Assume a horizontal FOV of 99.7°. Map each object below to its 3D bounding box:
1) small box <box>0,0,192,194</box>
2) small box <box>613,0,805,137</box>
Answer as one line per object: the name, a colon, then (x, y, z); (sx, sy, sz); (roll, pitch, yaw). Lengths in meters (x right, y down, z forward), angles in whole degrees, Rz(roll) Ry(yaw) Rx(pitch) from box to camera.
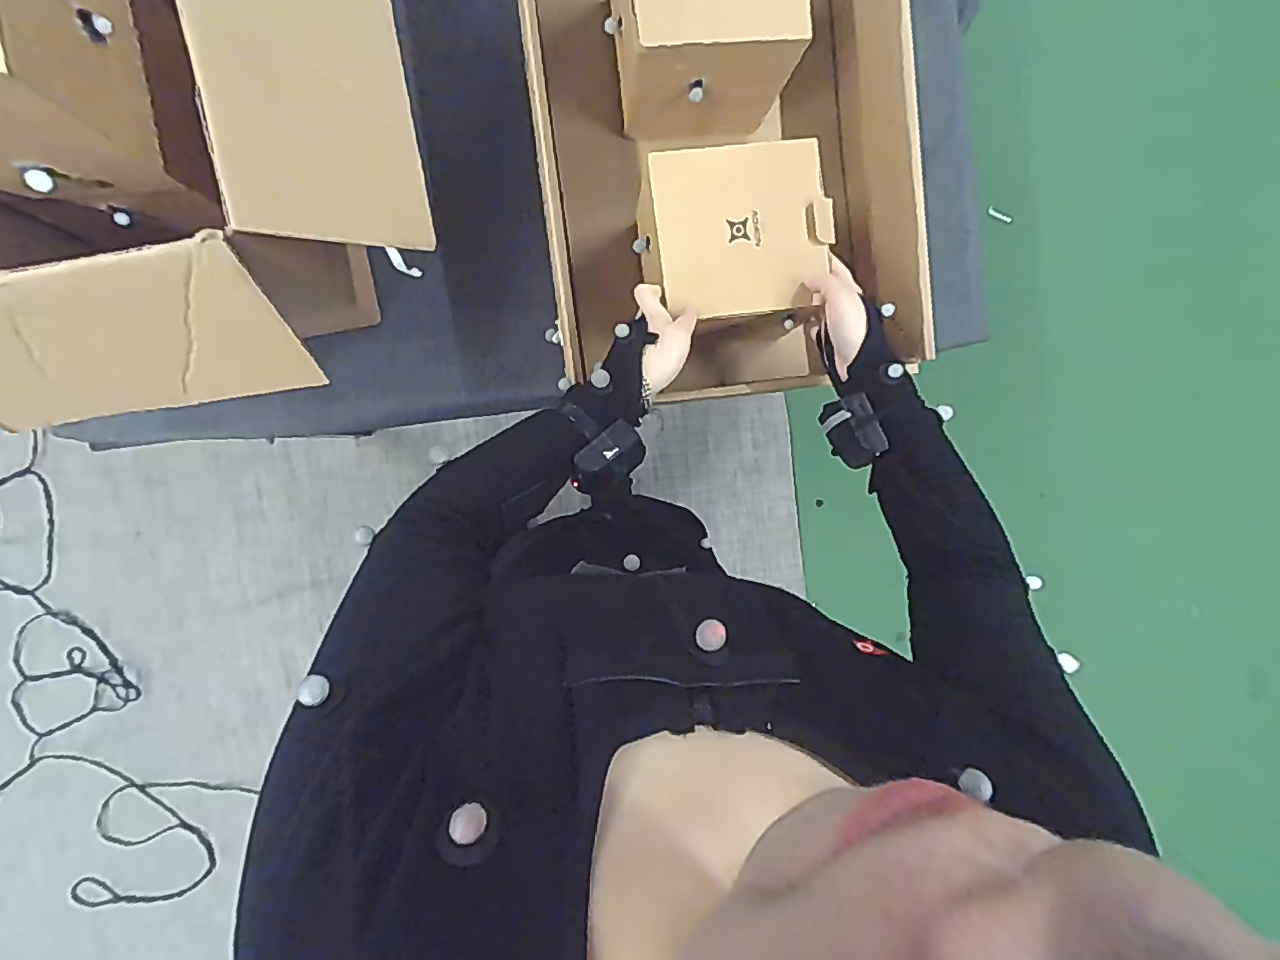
small box: (-0.494, -0.344, 0.411); (0.168, 0.176, 0.179); (-6, 97, -6)
small box: (0.063, -0.508, 0.599); (0.179, 0.176, 0.168); (-7, 97, -4)
